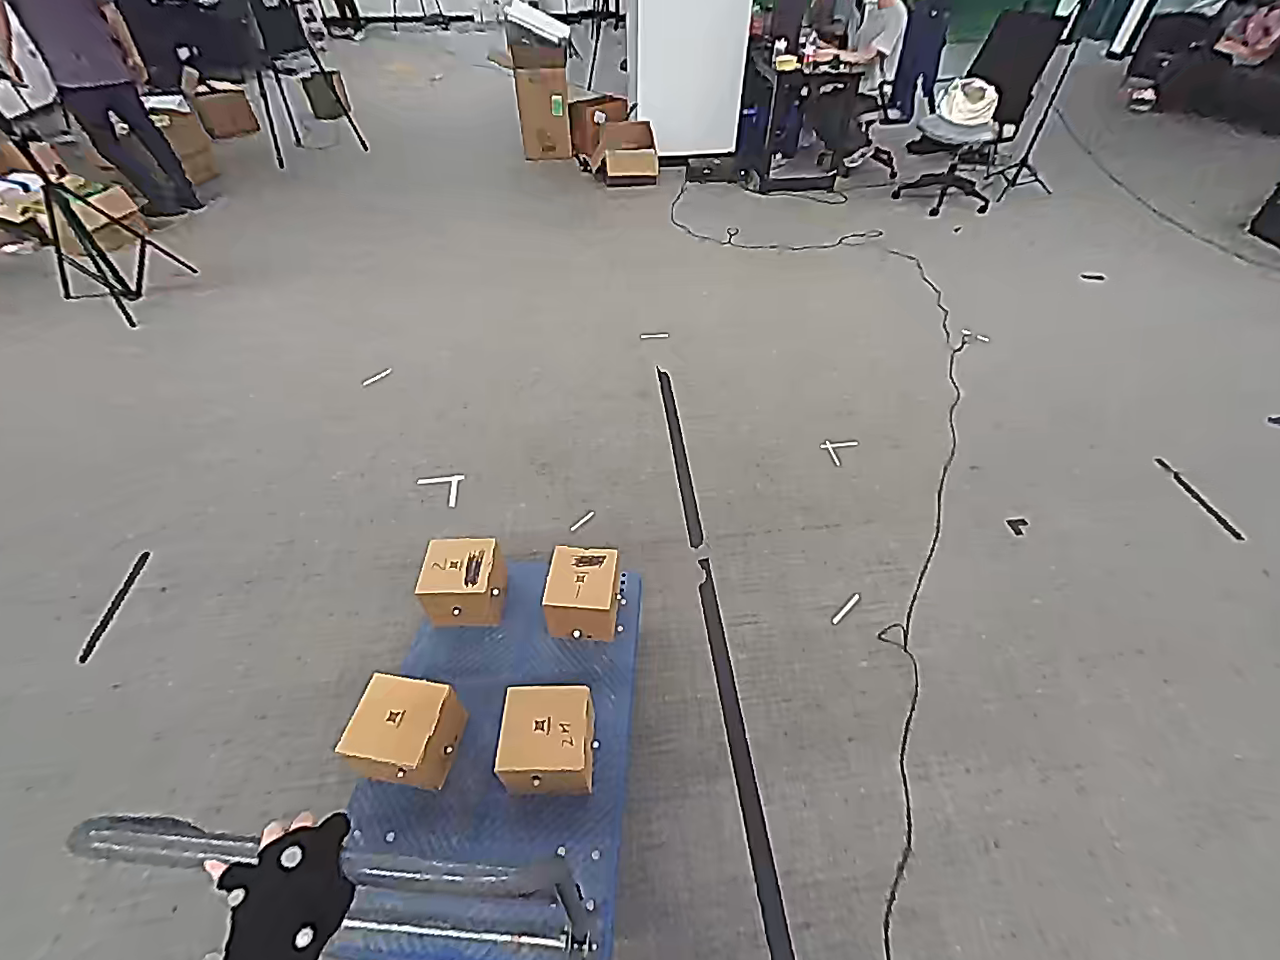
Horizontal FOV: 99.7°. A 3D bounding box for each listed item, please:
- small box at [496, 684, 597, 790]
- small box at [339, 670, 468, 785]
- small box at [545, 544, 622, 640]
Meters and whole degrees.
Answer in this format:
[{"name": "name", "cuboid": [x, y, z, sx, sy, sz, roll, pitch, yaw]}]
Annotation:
[{"name": "small box", "cuboid": [-0.190, 0.549, 1.150, 0.179, 0.176, 0.168, 0, 47, 0]}, {"name": "small box", "cuboid": [-0.497, 0.536, 1.166, 0.179, 0.176, 0.168, 8, 46, 5]}, {"name": "small box", "cuboid": [-0.138, 0.290, 1.397, 0.168, 0.176, 0.179, 4, 48, 4]}]
